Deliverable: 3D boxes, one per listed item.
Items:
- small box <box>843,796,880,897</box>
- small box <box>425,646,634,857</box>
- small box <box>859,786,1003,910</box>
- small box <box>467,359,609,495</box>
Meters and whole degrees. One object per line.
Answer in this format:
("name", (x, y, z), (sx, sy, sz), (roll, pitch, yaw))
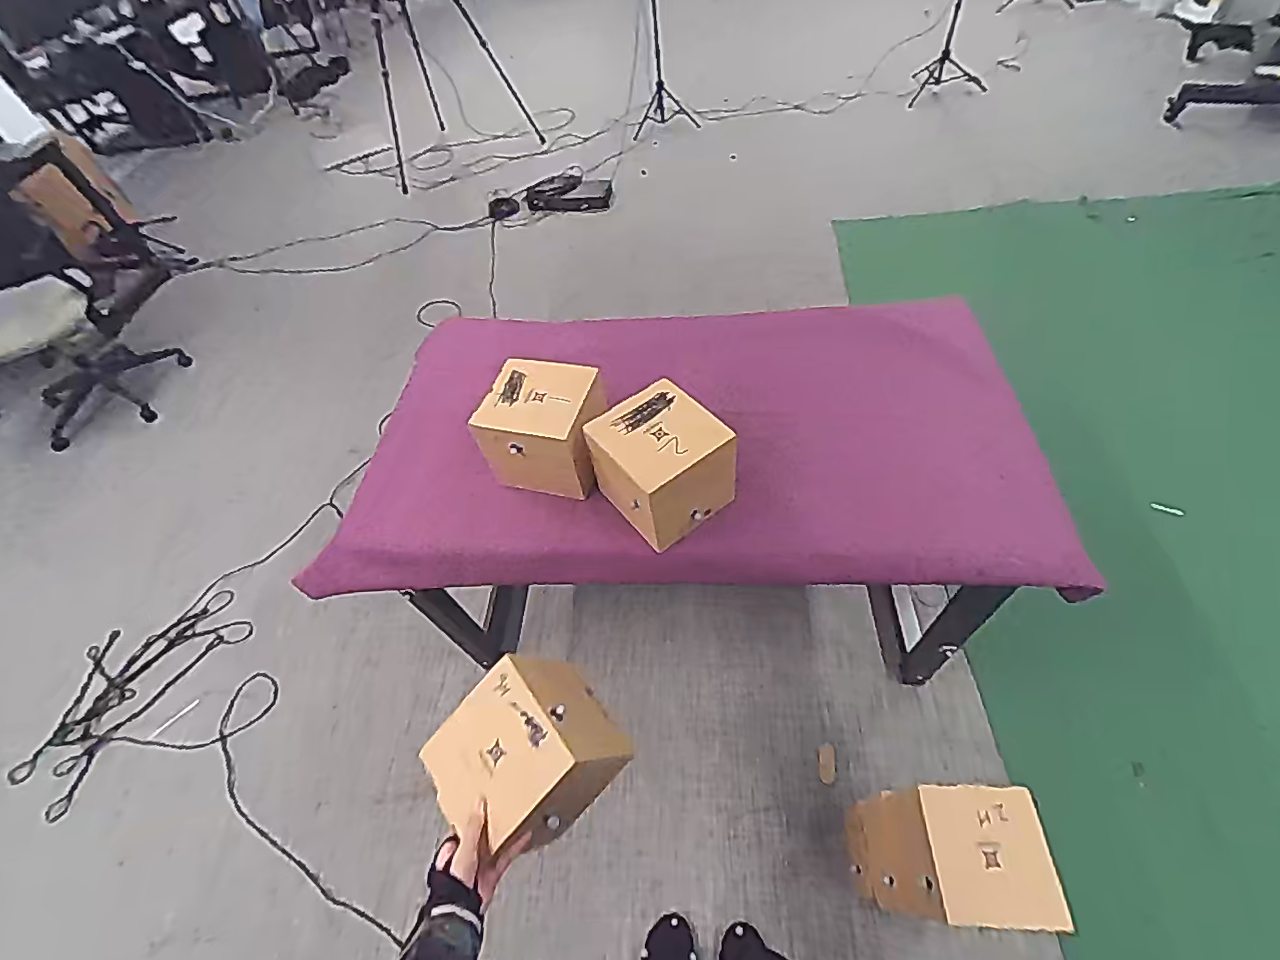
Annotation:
("small box", (0.531, 0.770, 1.128), (0.179, 0.176, 0.168), (0, 54, 7))
("small box", (-0.140, 0.347, 0.717), (0.179, 0.176, 0.168), (-48, 58, 3))
("small box", (0.519, 0.675, 0.997), (0.168, 0.176, 0.179), (-3, 55, 6))
("small box", (-0.168, -0.091, 0.958), (0.179, 0.176, 0.168), (10, 56, 14))
